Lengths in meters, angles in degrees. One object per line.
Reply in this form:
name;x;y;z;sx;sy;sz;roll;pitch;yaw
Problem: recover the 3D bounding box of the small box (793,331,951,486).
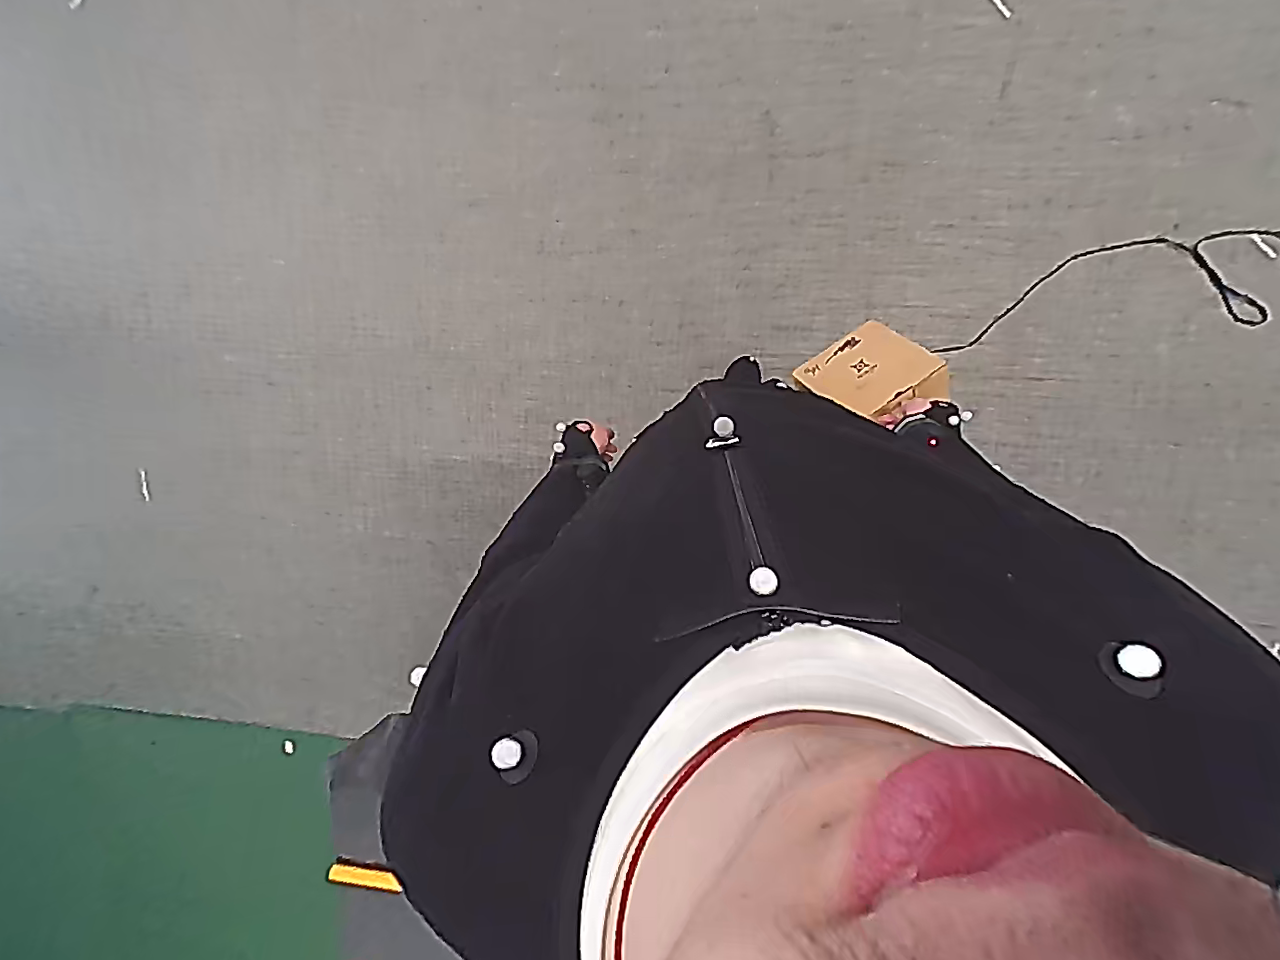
small box;0.396;-0.113;0.919;0.168;0.179;0.176;-36;131;3
